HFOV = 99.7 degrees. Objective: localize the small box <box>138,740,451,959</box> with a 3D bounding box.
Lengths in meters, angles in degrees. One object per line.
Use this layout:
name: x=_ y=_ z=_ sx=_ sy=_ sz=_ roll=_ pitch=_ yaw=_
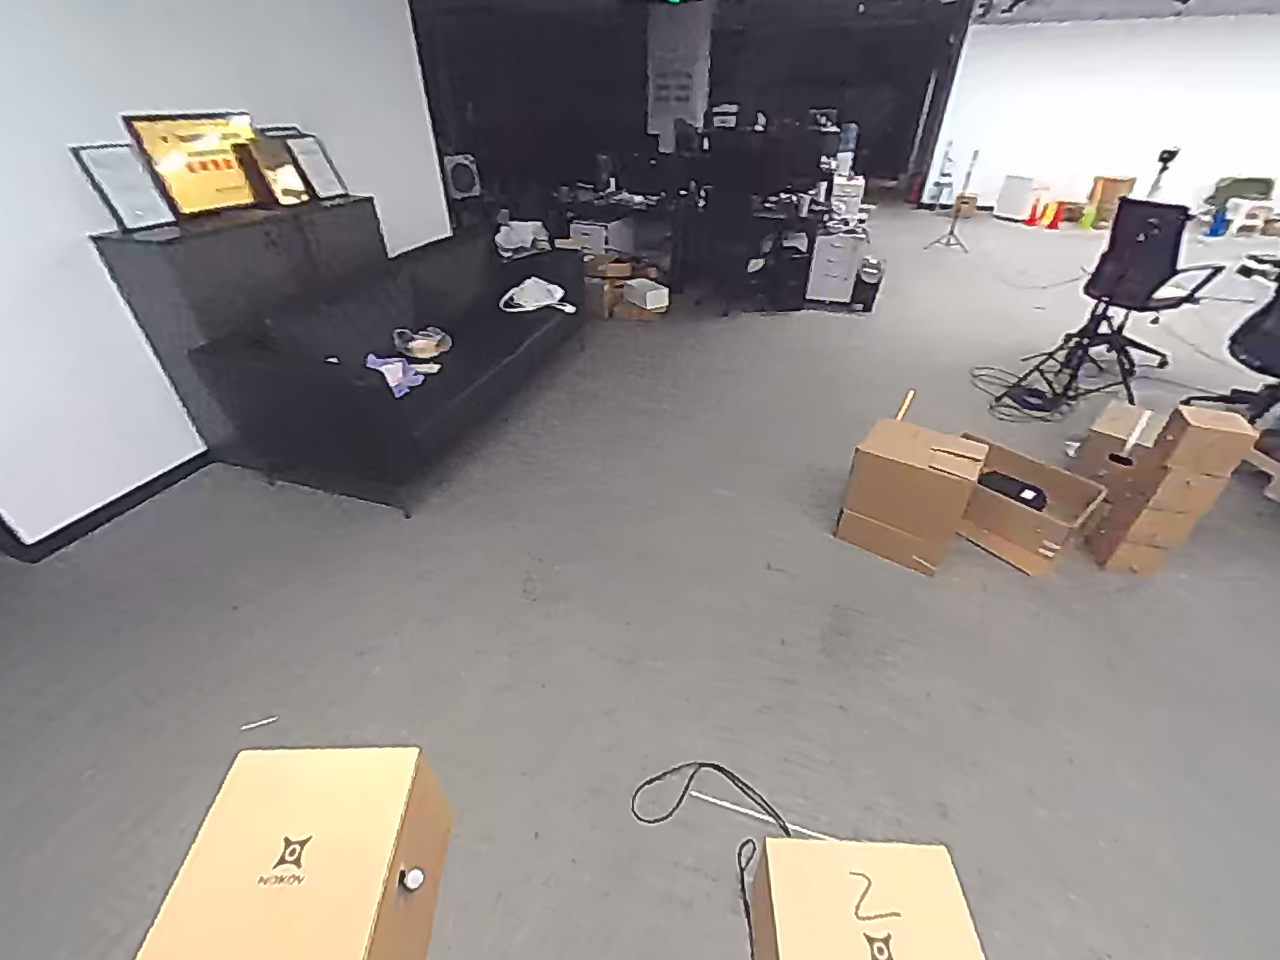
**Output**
small box: x=-0.283 y=0.362 z=0.495 sx=0.168 sy=0.176 sz=0.179 roll=1 pitch=43 yaw=-2
